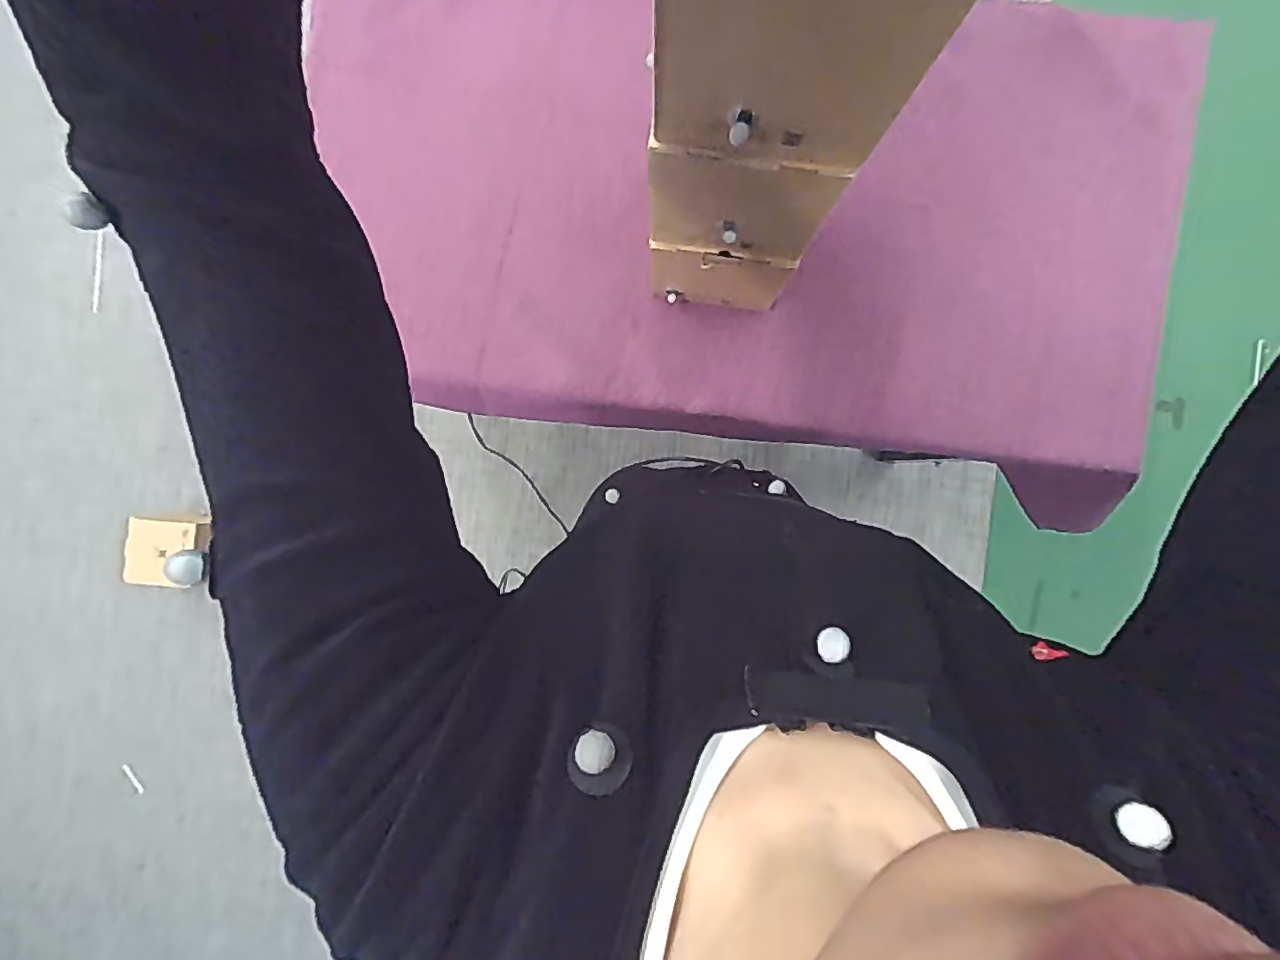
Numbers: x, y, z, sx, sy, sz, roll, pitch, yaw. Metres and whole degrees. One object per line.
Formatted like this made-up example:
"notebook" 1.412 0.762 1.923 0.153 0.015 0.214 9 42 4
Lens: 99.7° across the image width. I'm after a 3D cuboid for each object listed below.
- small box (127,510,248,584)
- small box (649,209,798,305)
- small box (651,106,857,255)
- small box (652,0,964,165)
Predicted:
"small box" -1.193 0.172 1.435 0.179 0.176 0.168 6 91 2
"small box" 0.107 -0.332 0.666 0.168 0.176 0.179 9 91 1
"small box" 0.102 -0.338 0.502 0.168 0.176 0.179 9 91 2
"small box" 0.099 -0.340 0.339 0.168 0.176 0.179 9 91 2
